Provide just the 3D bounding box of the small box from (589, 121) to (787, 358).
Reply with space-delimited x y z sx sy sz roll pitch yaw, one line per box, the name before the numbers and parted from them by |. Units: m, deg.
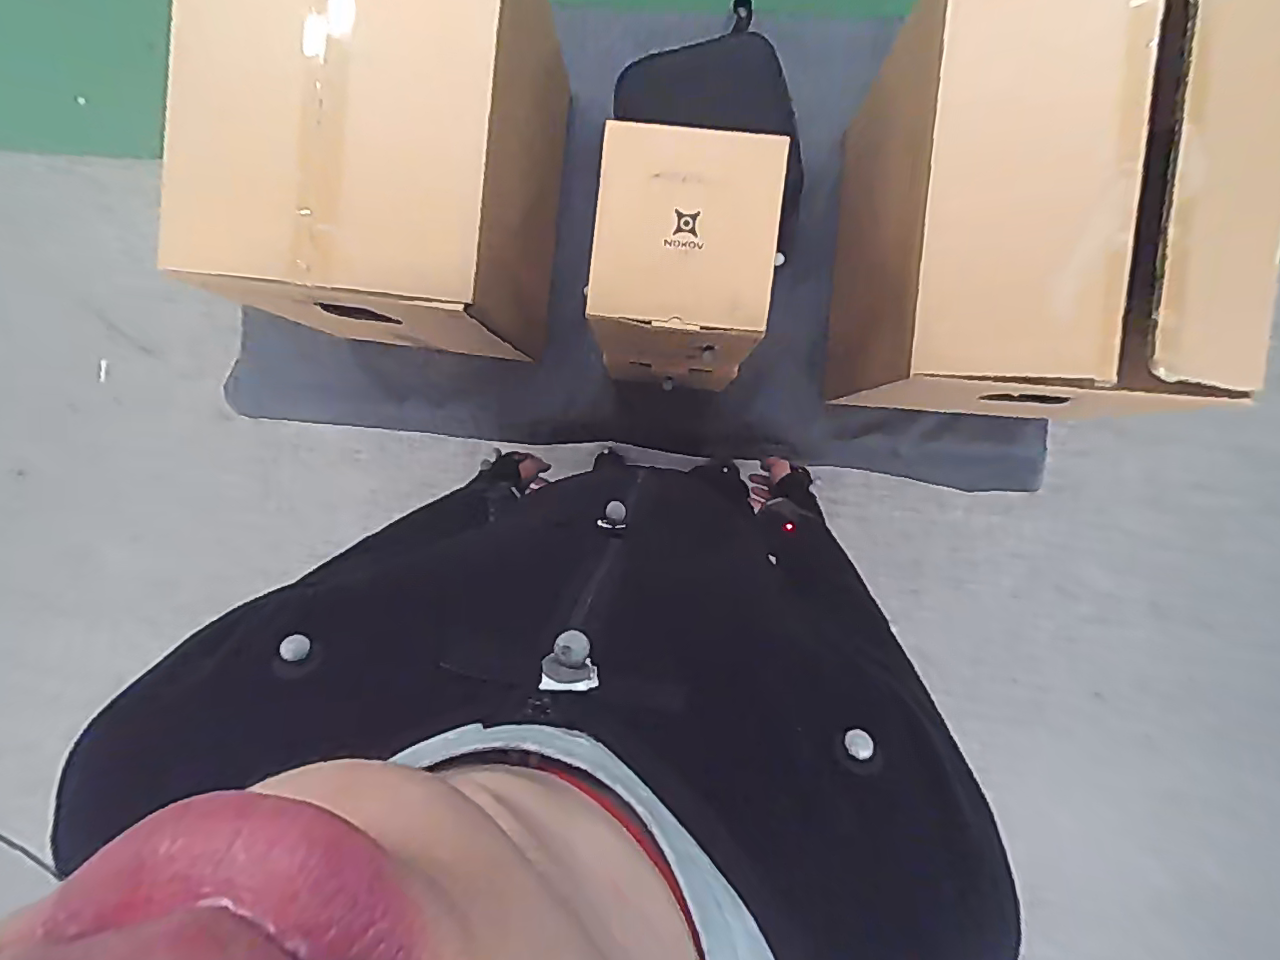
small box | 0.044 -0.233 0.568 0.168 0.176 0.179 6 92 0
